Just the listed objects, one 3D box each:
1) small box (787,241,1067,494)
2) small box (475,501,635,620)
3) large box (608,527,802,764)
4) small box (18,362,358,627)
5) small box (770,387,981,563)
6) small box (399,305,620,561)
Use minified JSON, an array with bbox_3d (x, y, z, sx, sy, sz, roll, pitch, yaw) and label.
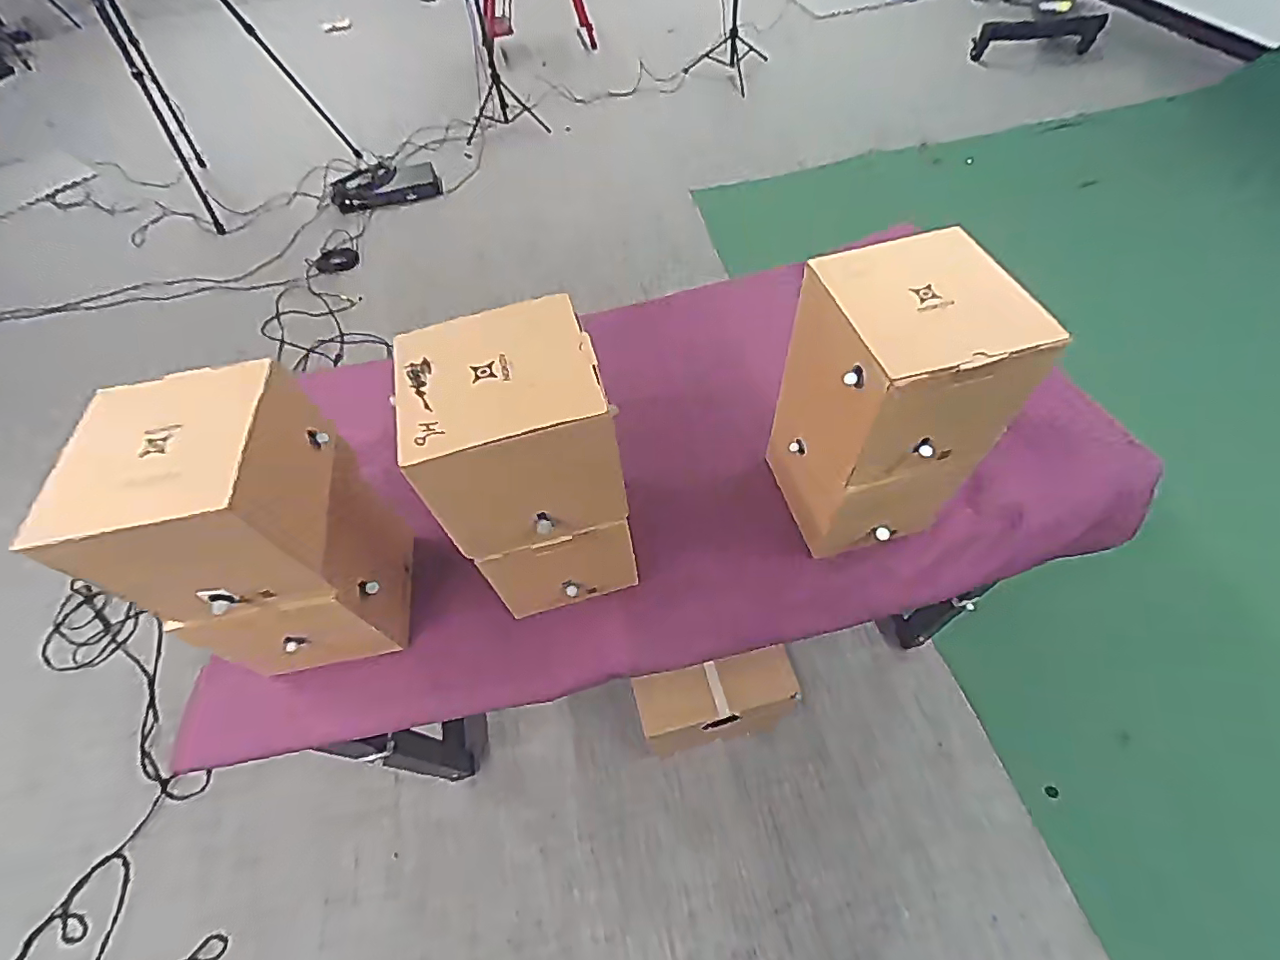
[{"bbox_3d":[0.269,-0.113,0.564,0.168,0.176,0.179,-14,56,-5],"label":"small box"},{"bbox_3d":[-0.109,0.049,0.678,0.168,0.176,0.179,-15,56,-5],"label":"small box"},{"bbox_3d":[0.118,0.380,1.240,0.320,0.320,0.408,-14,57,-4],"label":"large box"},{"bbox_3d":[-0.398,0.018,0.523,0.168,0.176,0.179,-12,55,-2],"label":"small box"},{"bbox_3d":[0.279,-0.019,0.696,0.168,0.176,0.179,-14,57,-4],"label":"small box"},{"bbox_3d":[-0.121,-0.042,0.542,0.179,0.176,0.168,-15,54,-6],"label":"small box"}]
